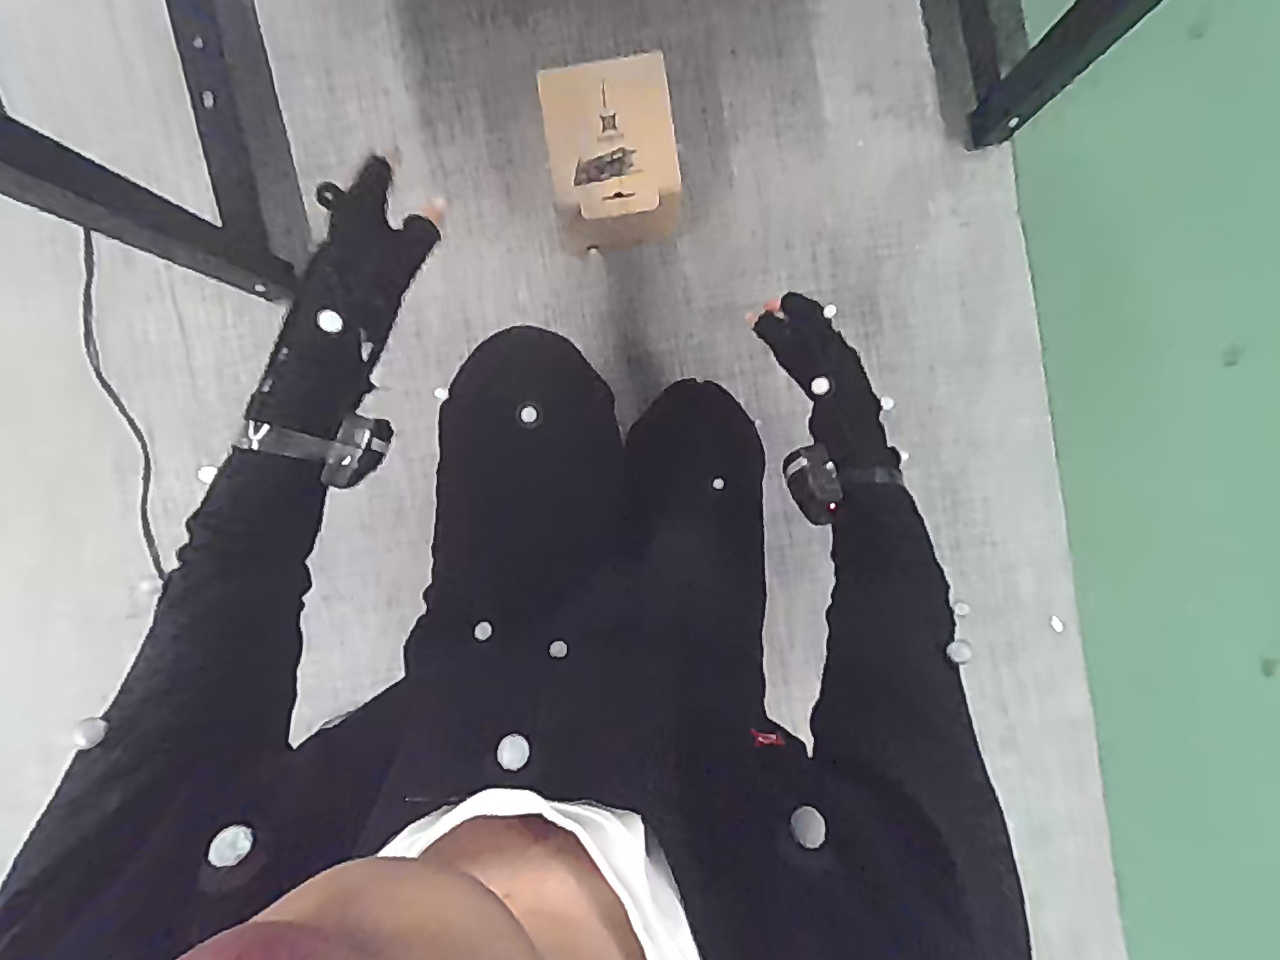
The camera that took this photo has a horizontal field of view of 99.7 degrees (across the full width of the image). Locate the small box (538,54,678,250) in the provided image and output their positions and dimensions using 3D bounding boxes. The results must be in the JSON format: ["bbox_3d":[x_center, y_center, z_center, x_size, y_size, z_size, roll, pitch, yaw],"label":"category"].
[{"bbox_3d":[-0.037,-0.447,0.772,0.168,0.176,0.179,-8,91,2],"label":"small box"}]
